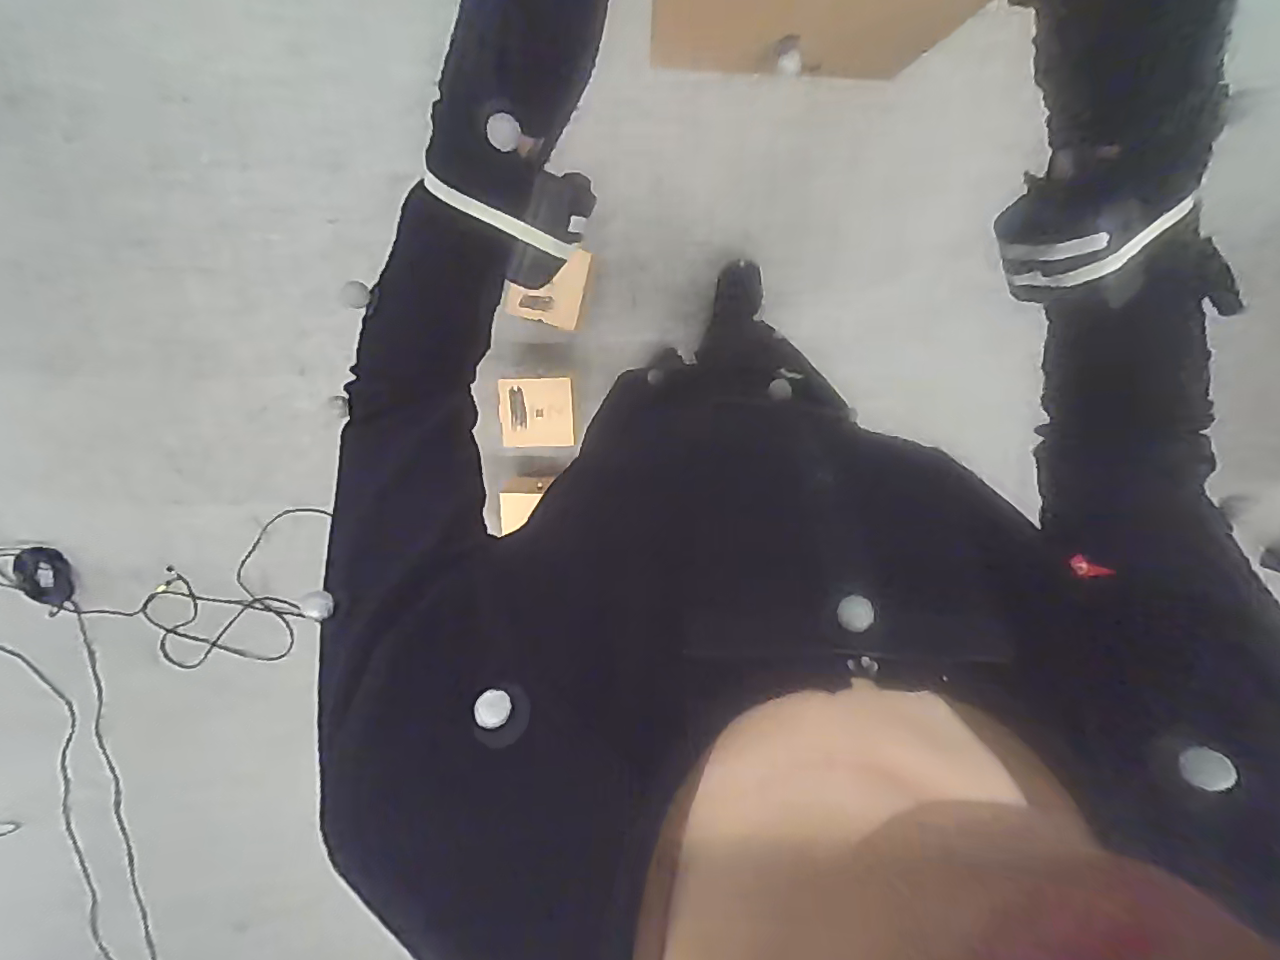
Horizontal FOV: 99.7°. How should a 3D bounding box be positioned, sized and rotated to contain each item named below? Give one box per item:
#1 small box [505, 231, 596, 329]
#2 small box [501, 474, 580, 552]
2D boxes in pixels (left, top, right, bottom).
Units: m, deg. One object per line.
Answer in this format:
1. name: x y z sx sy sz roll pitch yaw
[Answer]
1. small box: -0.205 -0.465 1.285 0.168 0.176 0.179 14 103 -3
2. small box: -0.258 0.084 1.435 0.179 0.176 0.168 0 105 1
